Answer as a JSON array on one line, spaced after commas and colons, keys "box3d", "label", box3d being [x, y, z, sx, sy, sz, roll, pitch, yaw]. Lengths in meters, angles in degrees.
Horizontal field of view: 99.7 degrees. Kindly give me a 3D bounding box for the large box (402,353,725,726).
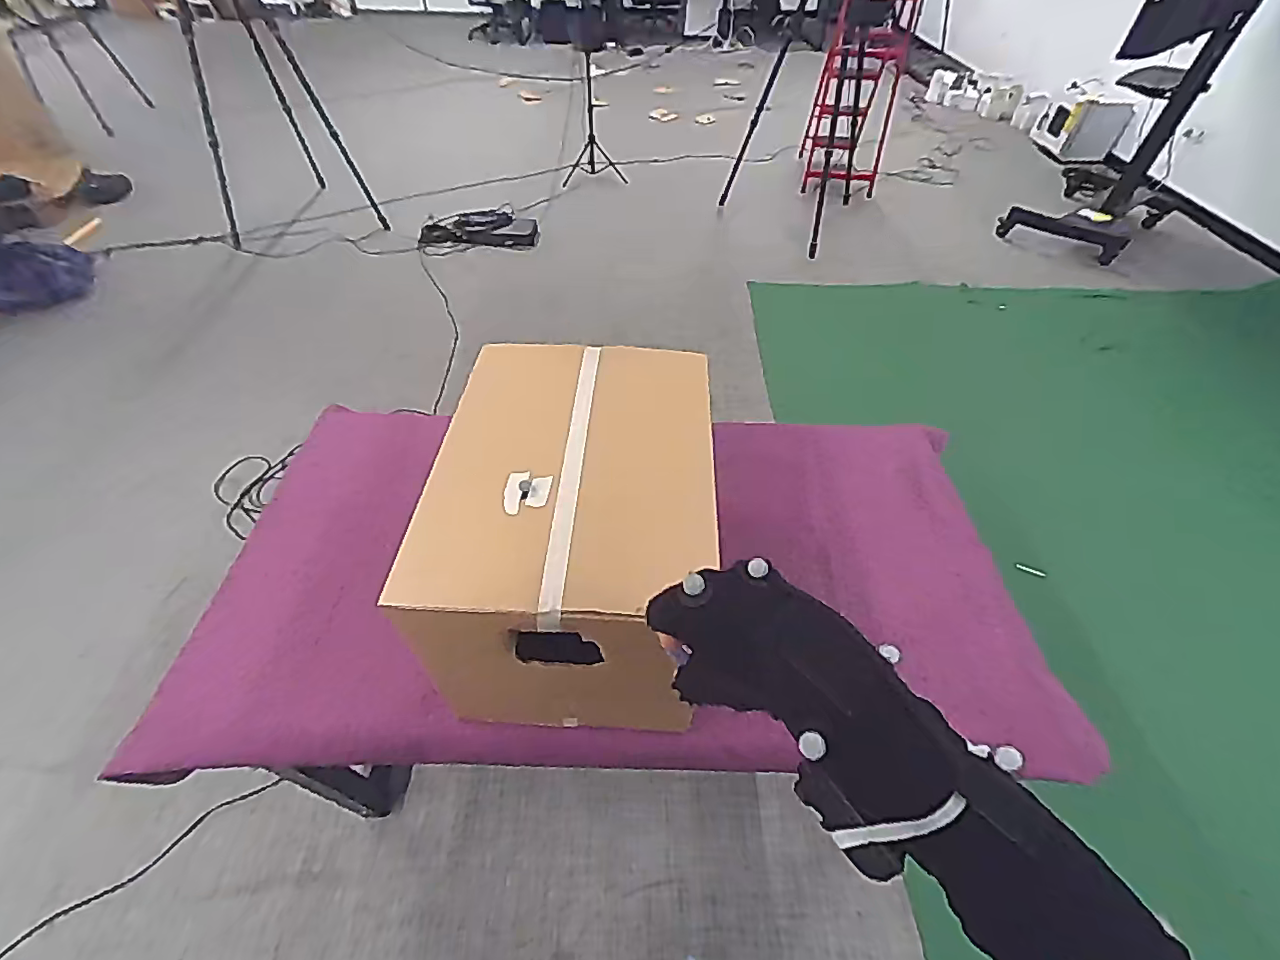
[{"box3d": [-0.072, 0.077, 0.745, 0.320, 0.320, 0.408, 3, 49, 1], "label": "large box"}]
